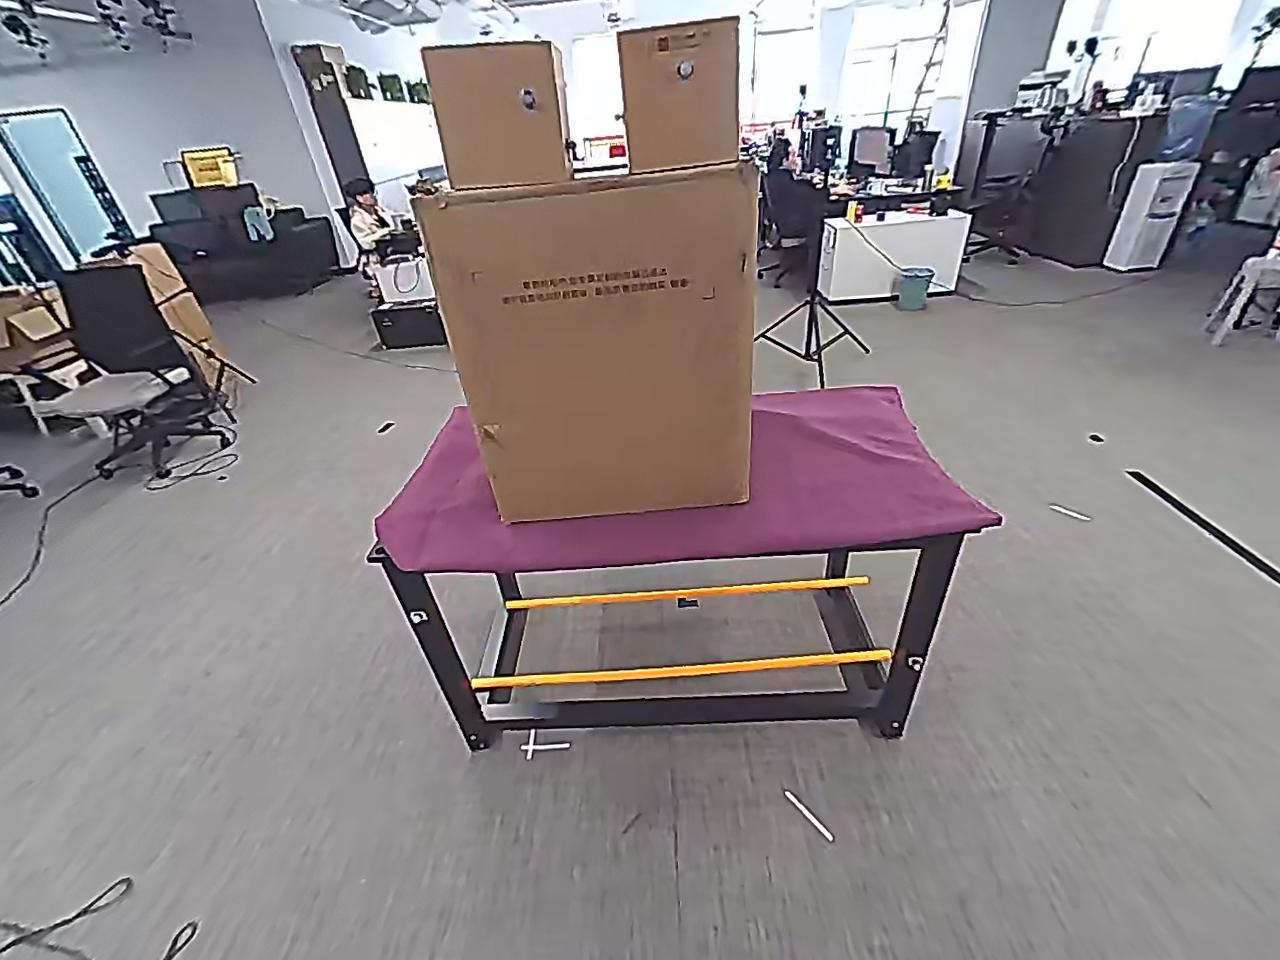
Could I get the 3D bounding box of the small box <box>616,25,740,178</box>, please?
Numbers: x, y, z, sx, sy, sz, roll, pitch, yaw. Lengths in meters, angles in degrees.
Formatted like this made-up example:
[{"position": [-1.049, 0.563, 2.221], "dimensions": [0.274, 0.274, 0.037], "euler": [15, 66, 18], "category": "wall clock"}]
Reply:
[{"position": [0.056, -0.570, 0.822], "dimensions": [0.168, 0.176, 0.179], "euler": [-7, 33, 1], "category": "small box"}]
